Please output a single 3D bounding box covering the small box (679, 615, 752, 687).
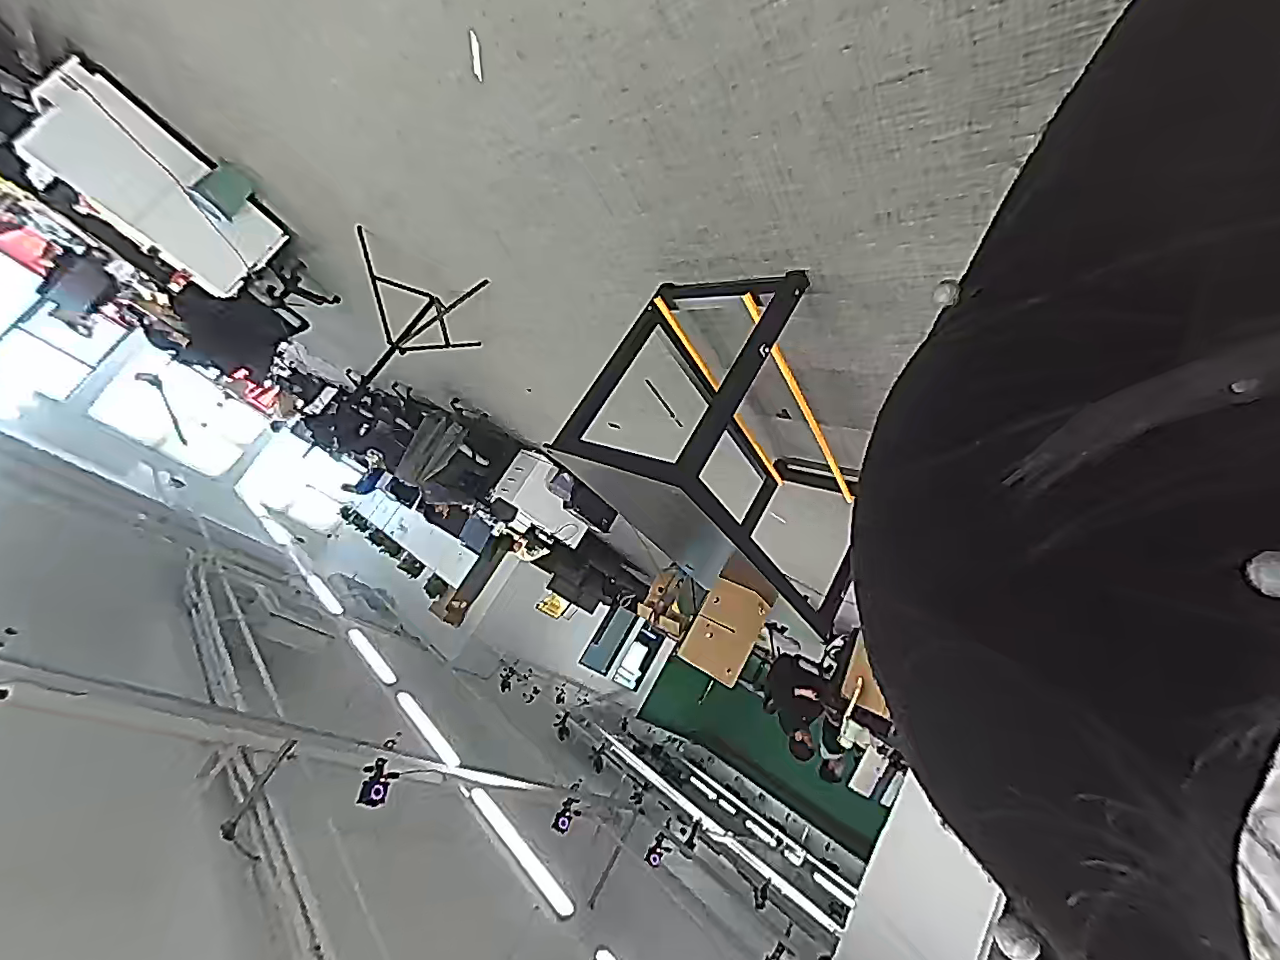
[{"bbox_3d":[0.282,0.624,1.981,0.168,0.176,0.179,17,160,46],"label":"small box"}]

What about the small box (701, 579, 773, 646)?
[{"bbox_3d":[0.364,0.488,2.022,0.179,0.176,0.168,16,160,45],"label":"small box"}]
